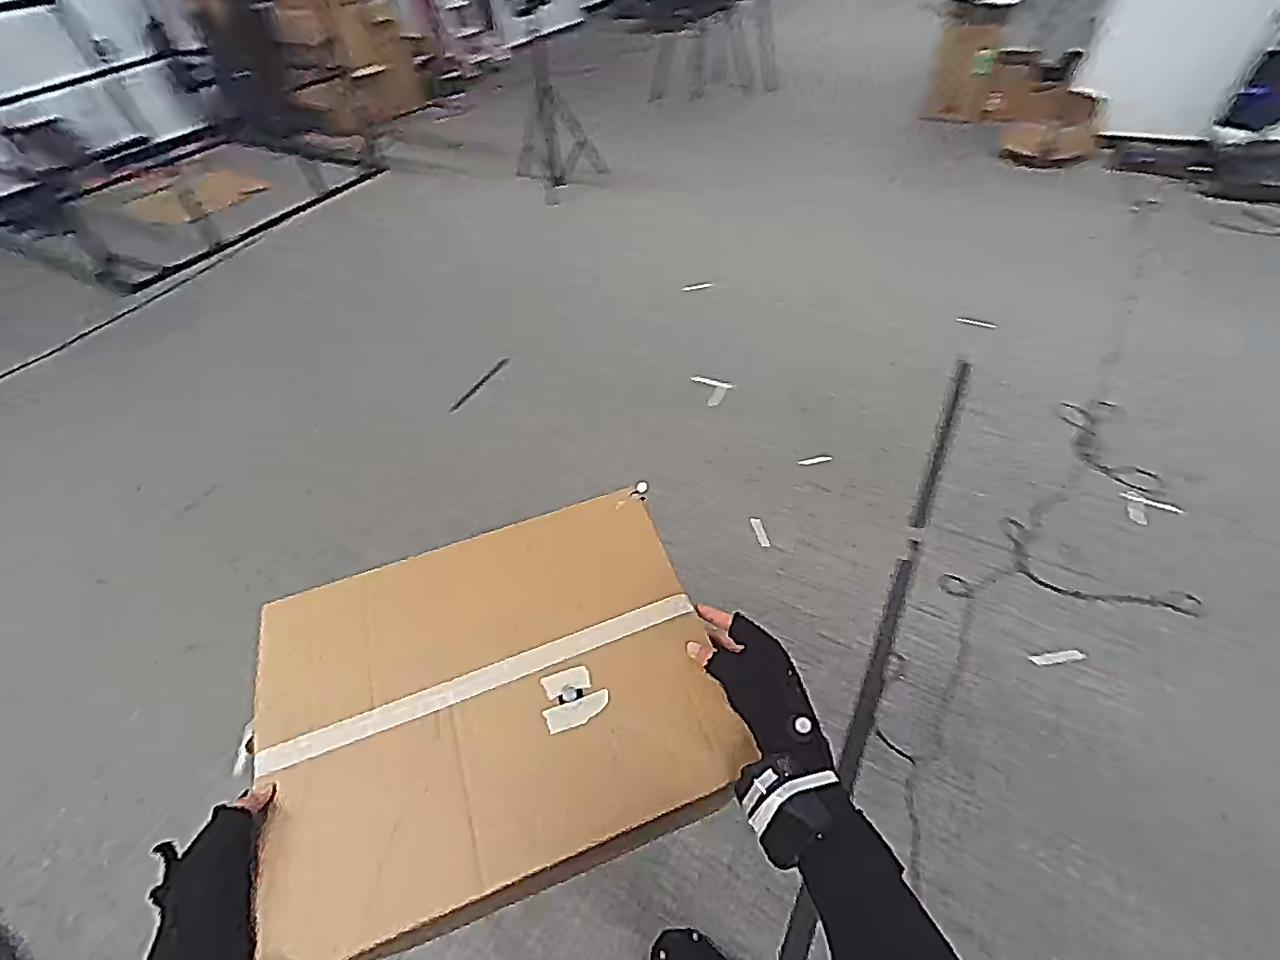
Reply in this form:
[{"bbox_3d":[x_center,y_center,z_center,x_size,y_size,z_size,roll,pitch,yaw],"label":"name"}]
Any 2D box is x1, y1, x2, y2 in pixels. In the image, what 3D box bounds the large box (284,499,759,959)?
[{"bbox_3d":[-0.128,0.282,0.639,0.408,0.320,0.320,-17,56,-11],"label":"large box"}]
